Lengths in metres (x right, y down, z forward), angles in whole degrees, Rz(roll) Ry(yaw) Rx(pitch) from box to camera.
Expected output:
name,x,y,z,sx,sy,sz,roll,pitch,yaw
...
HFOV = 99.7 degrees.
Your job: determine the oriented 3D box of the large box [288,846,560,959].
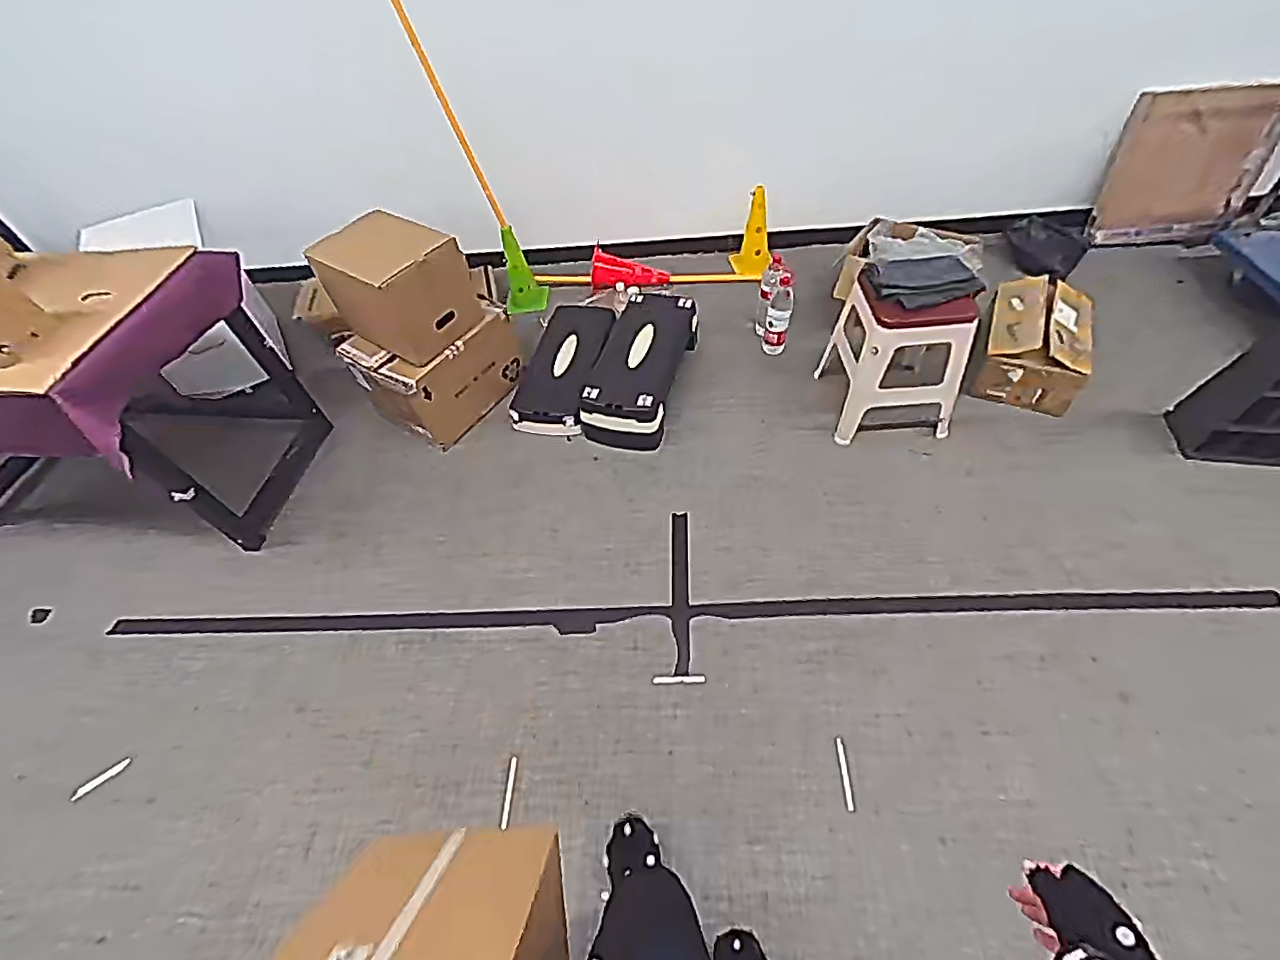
name,x,y,z,sx,sy,sz,roll,pitch,yaw
large box,-0.285,0.748,0.686,0.320,0.408,0.320,-7,85,3
